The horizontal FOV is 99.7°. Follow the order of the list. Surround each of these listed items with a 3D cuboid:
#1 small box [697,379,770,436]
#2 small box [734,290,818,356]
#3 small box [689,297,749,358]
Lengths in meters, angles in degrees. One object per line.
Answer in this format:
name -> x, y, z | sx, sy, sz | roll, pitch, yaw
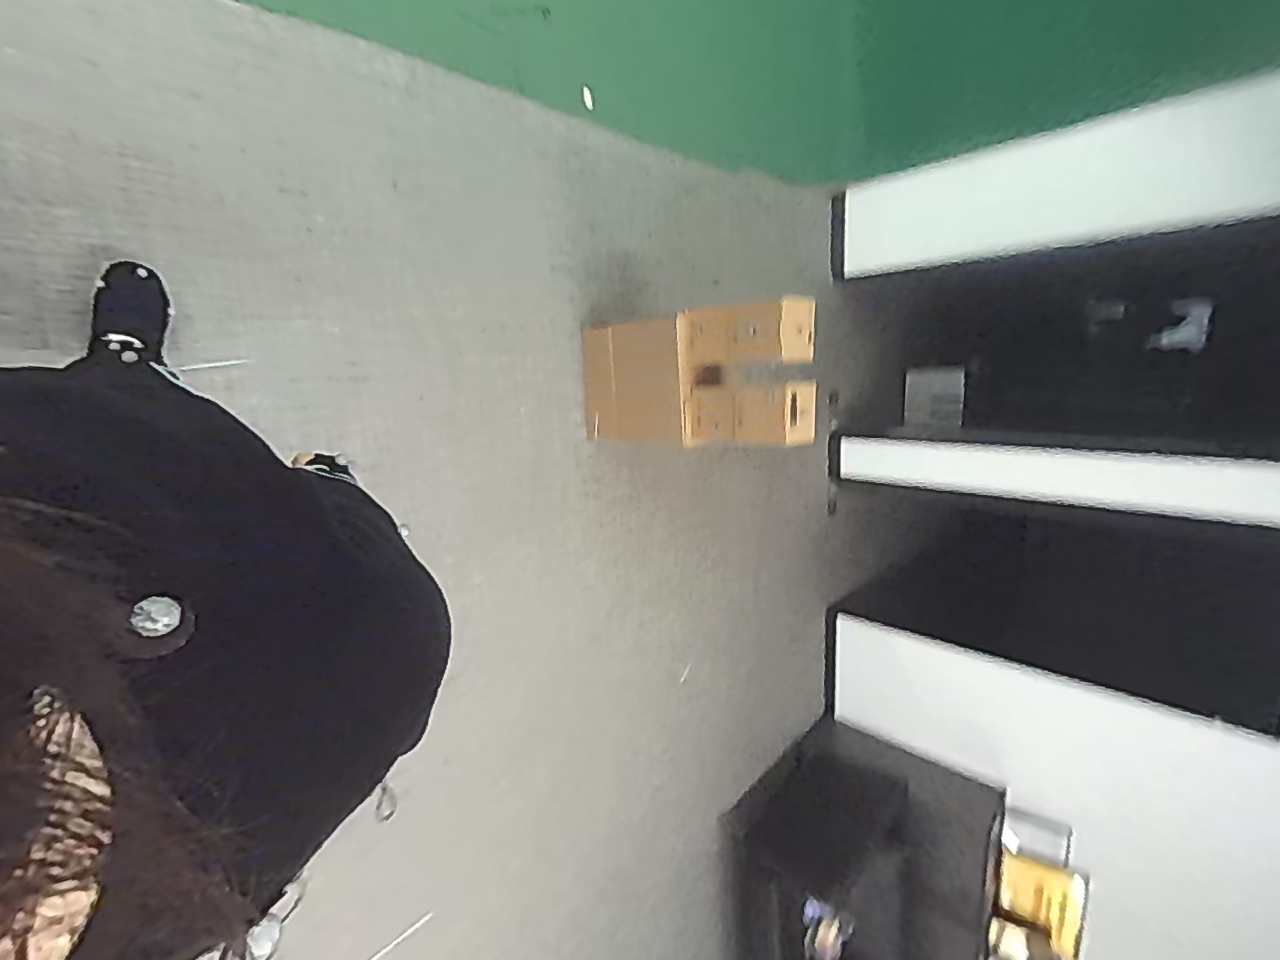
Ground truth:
small box -> 0.290, -0.228, 1.693 | 0.179, 0.176, 0.168 | -13, 105, -45
small box -> 0.377, -0.433, 1.512 | 0.179, 0.176, 0.168 | -14, 108, -42
small box -> 0.266, -0.456, 1.630 | 0.179, 0.176, 0.168 | -15, 109, -42
